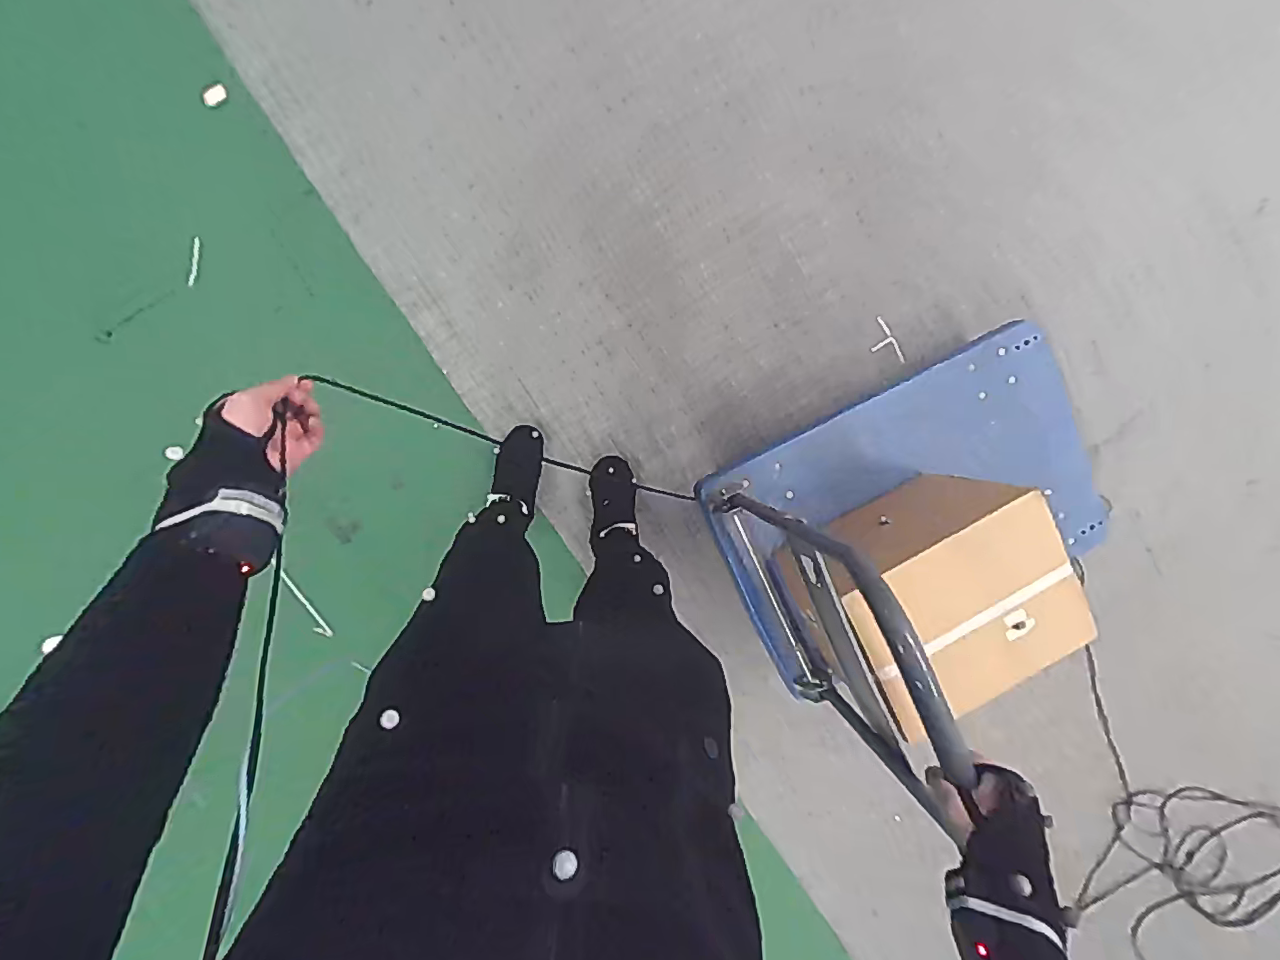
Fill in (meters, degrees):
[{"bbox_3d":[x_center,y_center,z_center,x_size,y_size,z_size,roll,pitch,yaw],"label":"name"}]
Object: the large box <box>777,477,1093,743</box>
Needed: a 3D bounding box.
[{"bbox_3d":[0.561,0.228,1.091,0.408,0.320,0.320,-28,99,-4],"label":"large box"}]
